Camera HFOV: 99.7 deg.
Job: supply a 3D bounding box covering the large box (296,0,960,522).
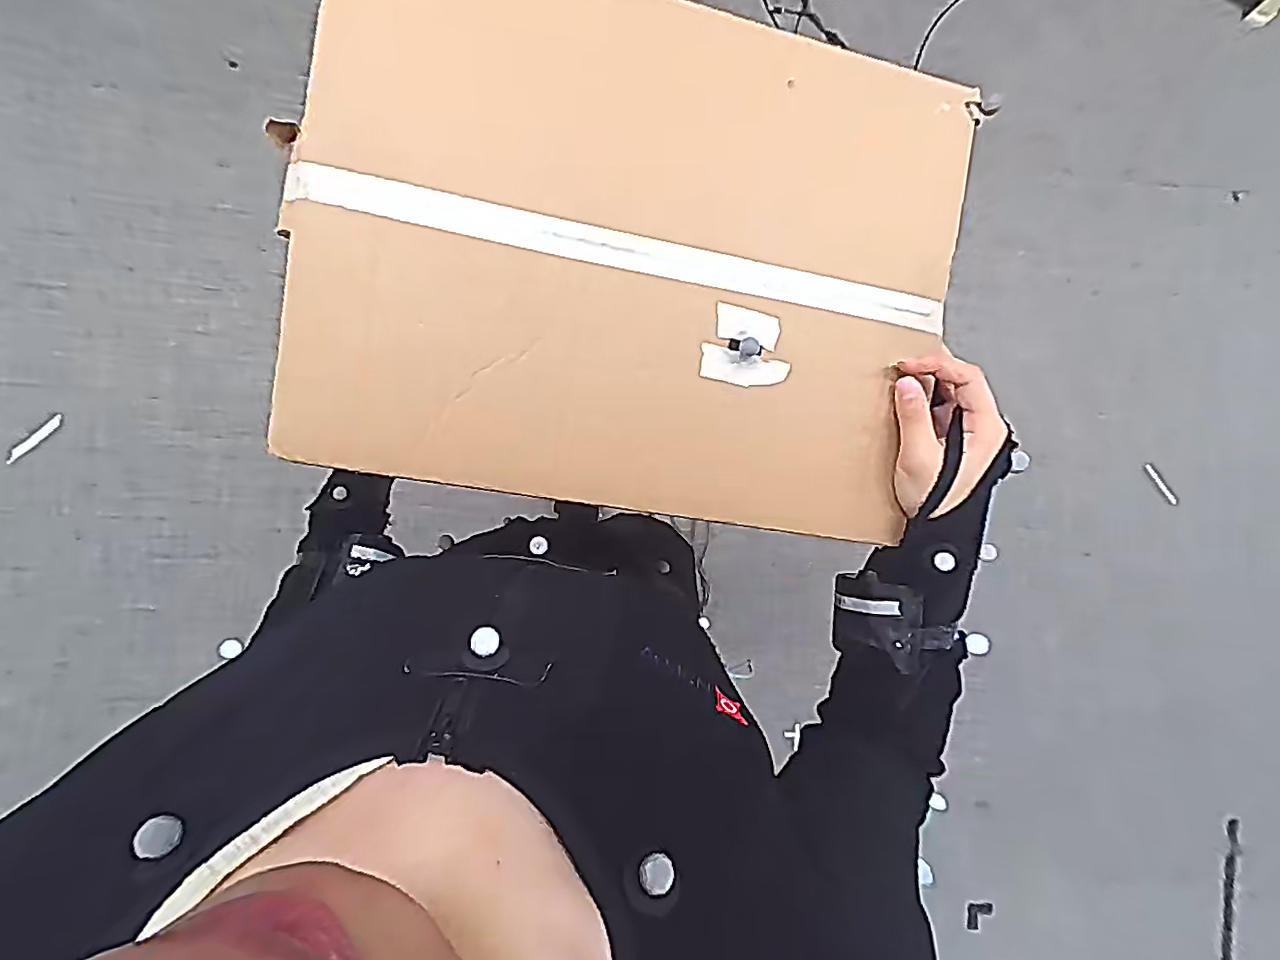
[{"bbox_3d":[-0.017,-0.153,0.490,0.408,0.320,0.320,8,93,-11],"label":"large box"}]
